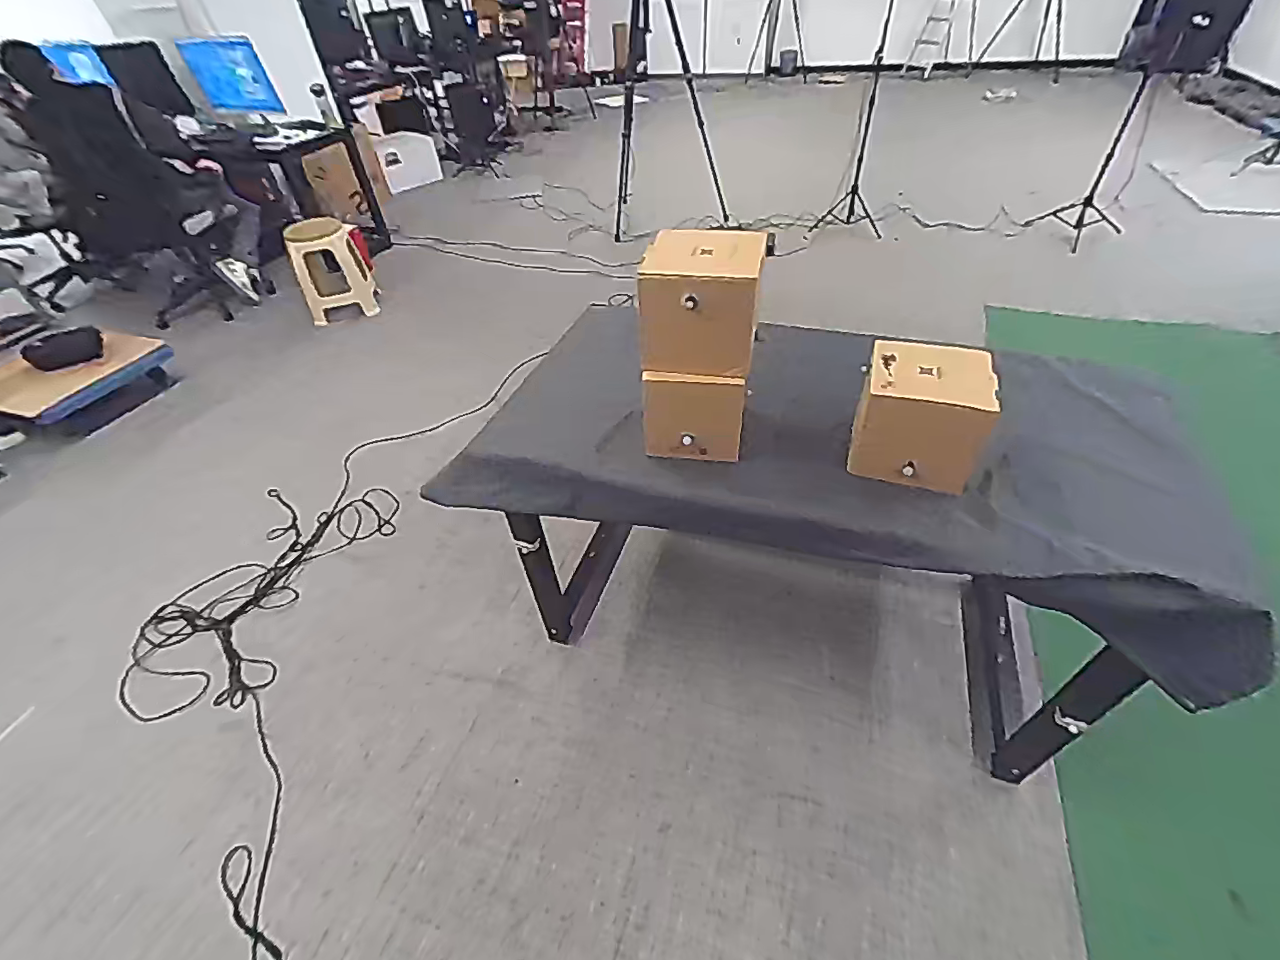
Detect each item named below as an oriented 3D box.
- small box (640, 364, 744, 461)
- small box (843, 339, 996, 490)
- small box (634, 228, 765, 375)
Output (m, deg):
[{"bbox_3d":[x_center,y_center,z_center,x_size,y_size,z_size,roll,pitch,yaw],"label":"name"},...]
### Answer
[{"bbox_3d":[0.097,-0.157,0.965,0.168,0.176,0.179,4,45,9],"label":"small box"},{"bbox_3d":[0.449,-0.105,0.886,0.179,0.176,0.168,13,46,16],"label":"small box"},{"bbox_3d":[0.097,-0.283,0.862,0.179,0.176,0.168,8,47,11],"label":"small box"}]
